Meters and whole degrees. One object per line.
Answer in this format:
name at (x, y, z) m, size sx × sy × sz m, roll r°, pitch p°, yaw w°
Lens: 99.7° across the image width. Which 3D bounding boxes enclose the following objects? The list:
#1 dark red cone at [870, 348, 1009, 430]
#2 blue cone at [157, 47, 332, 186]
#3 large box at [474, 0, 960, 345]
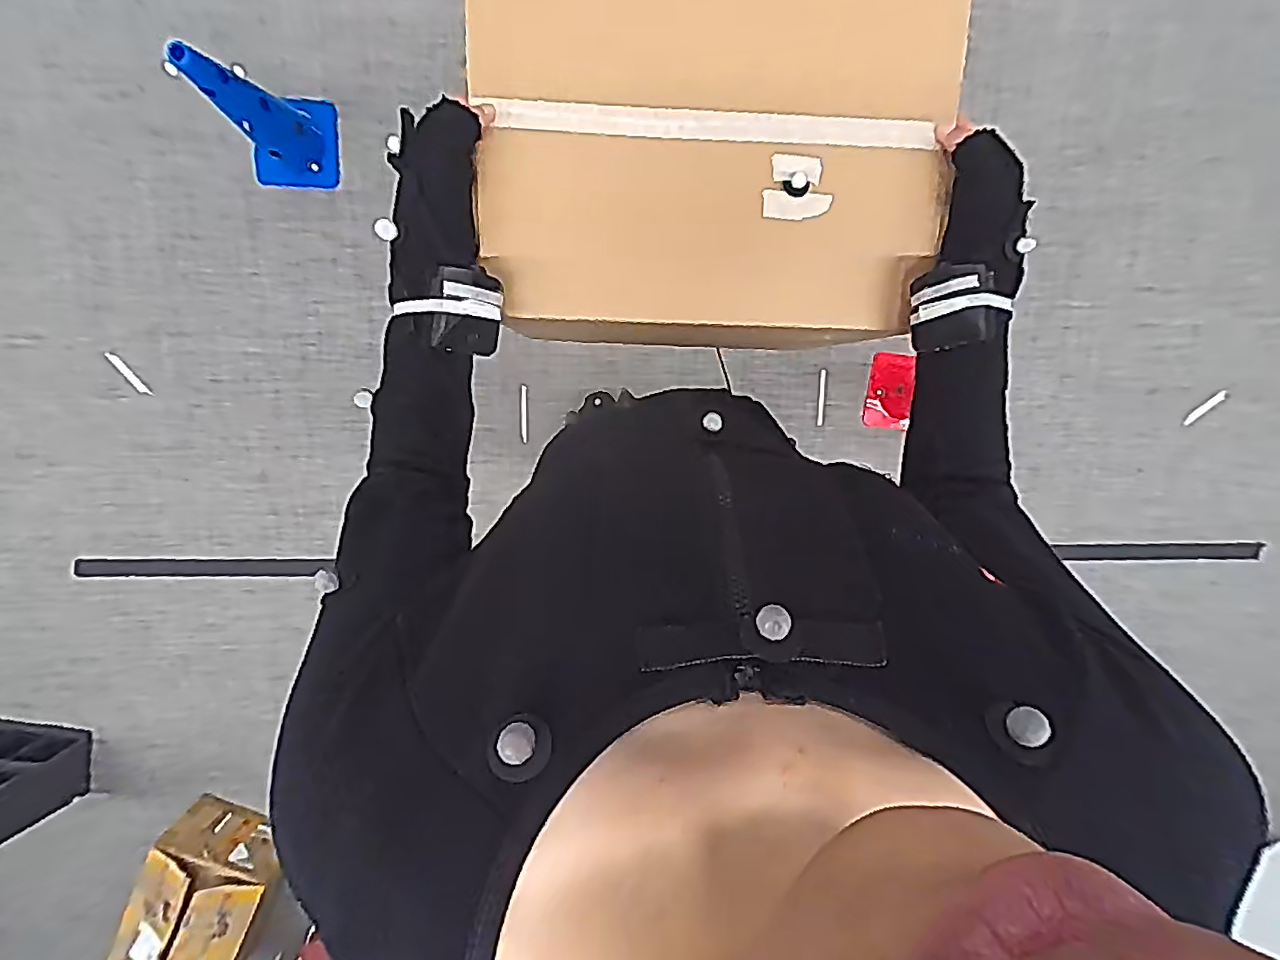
dark red cone at (0.719, -0.211, 1.268) m, size 0.201 × 0.394 × 0.202 m, roll 6°, pitch 99°, yaw -2°
blue cone at (-0.843, -0.791, 1.155) m, size 0.192 × 0.380 × 0.193 m, roll 3°, pitch 99°, yaw -2°
large box at (0.054, -0.320, 0.599) m, size 0.408 × 0.320 × 0.320 m, roll 1°, pitch 101°, yaw -4°
